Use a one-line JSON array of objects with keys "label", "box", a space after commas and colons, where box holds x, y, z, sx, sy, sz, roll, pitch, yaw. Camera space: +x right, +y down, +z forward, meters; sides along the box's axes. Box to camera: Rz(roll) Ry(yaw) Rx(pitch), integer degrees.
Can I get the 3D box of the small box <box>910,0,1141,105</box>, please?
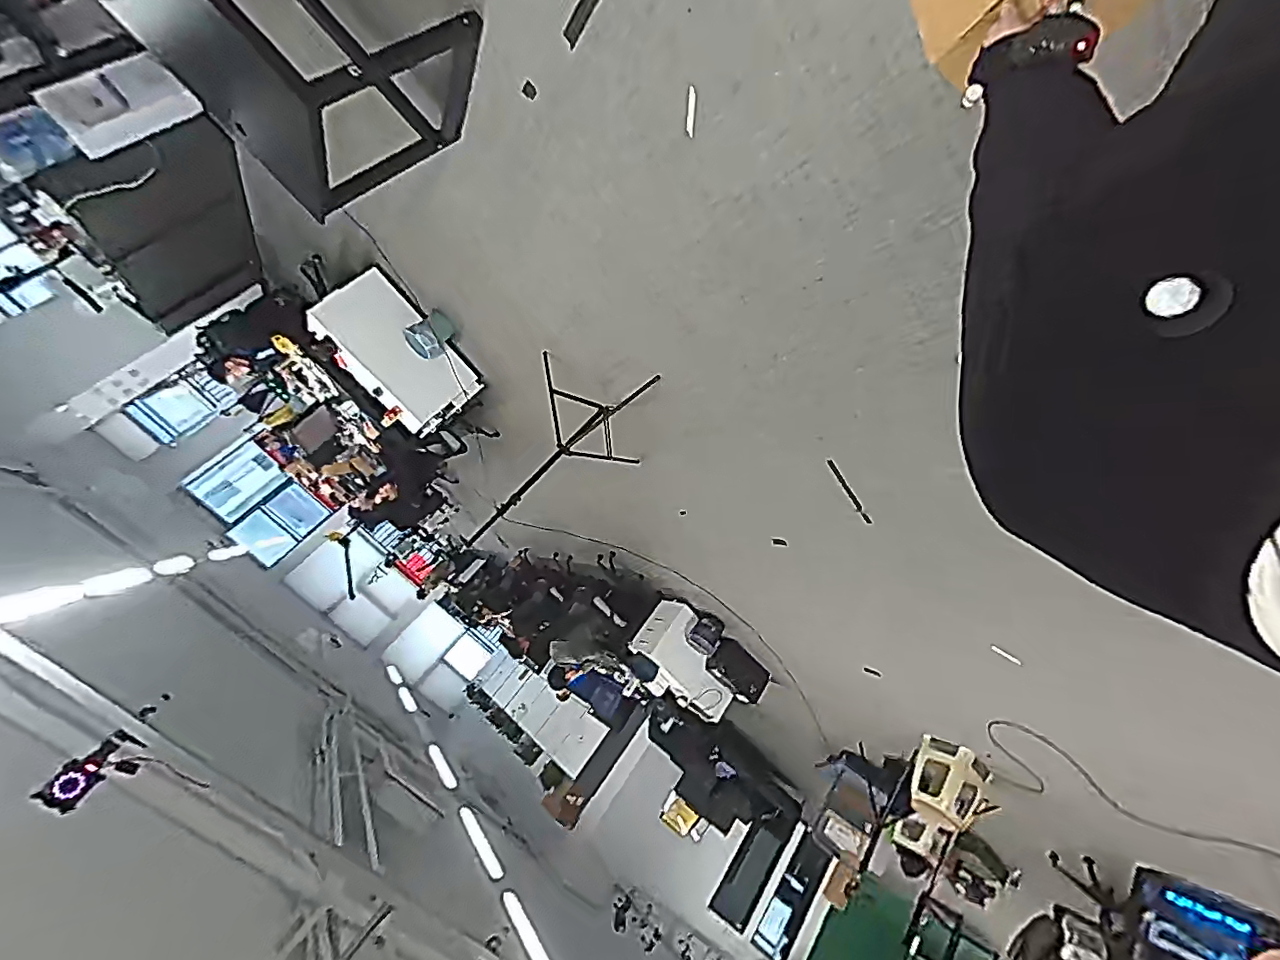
[{"label": "small box", "box": [0.443, -0.587, 0.637, 0.168, 0.176, 0.179, -25, 69, 52]}]
